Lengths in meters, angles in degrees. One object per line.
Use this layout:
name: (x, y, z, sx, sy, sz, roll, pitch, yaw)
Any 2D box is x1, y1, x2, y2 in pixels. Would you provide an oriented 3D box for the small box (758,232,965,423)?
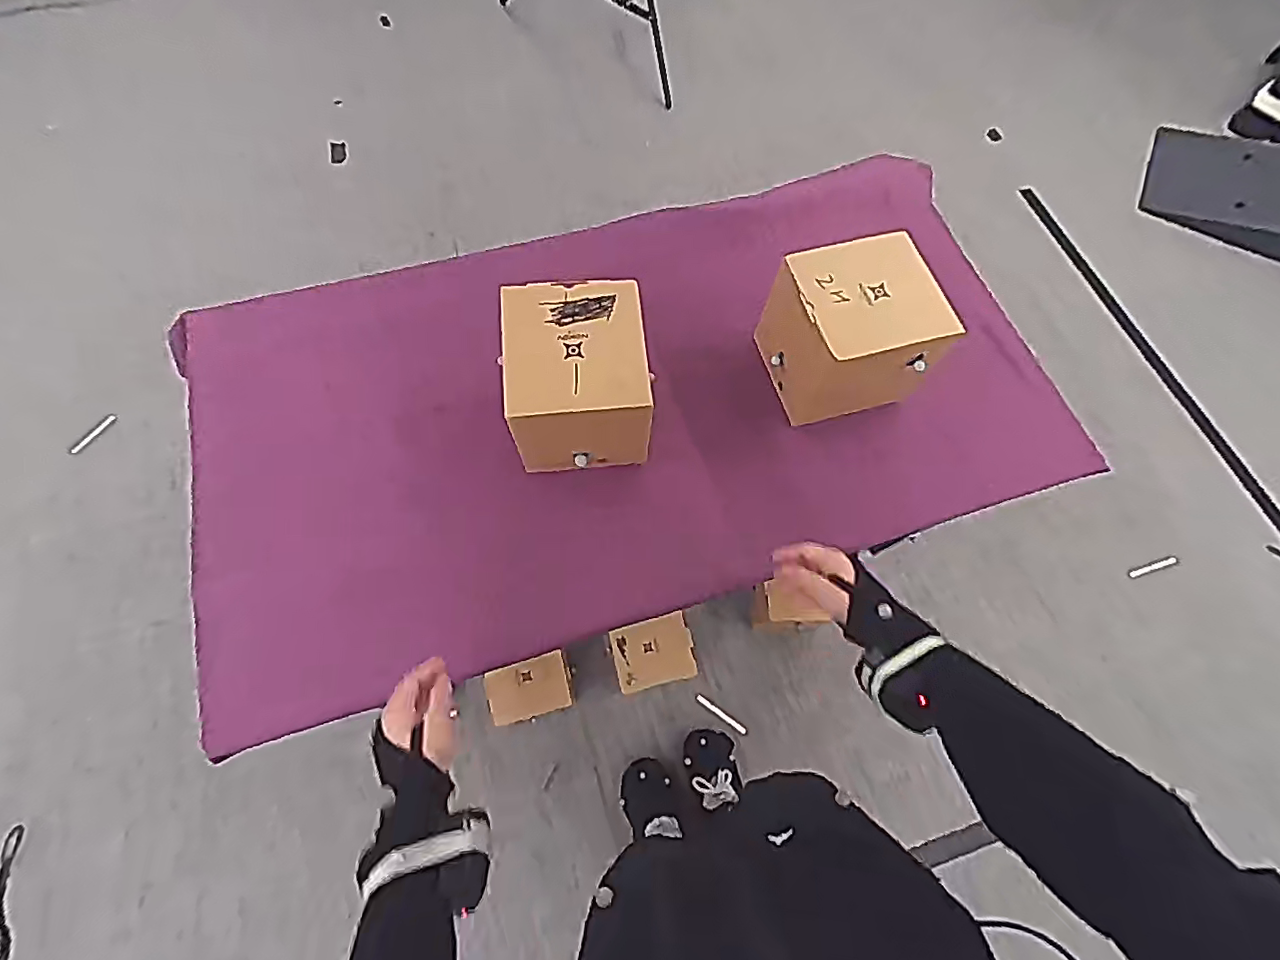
small box: (0.283, -0.198, 0.735, 0.179, 0.176, 0.168, -14, 70, -7)

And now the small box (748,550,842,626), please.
small box: (0.377, 0.271, 1.343, 0.179, 0.176, 0.168, 0, 70, -1)

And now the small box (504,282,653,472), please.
small box: (-0.077, -0.125, 0.694, 0.168, 0.176, 0.179, -5, 70, -4)

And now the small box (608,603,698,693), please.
small box: (0.024, 0.398, 1.281, 0.179, 0.176, 0.168, -12, 71, -7)
